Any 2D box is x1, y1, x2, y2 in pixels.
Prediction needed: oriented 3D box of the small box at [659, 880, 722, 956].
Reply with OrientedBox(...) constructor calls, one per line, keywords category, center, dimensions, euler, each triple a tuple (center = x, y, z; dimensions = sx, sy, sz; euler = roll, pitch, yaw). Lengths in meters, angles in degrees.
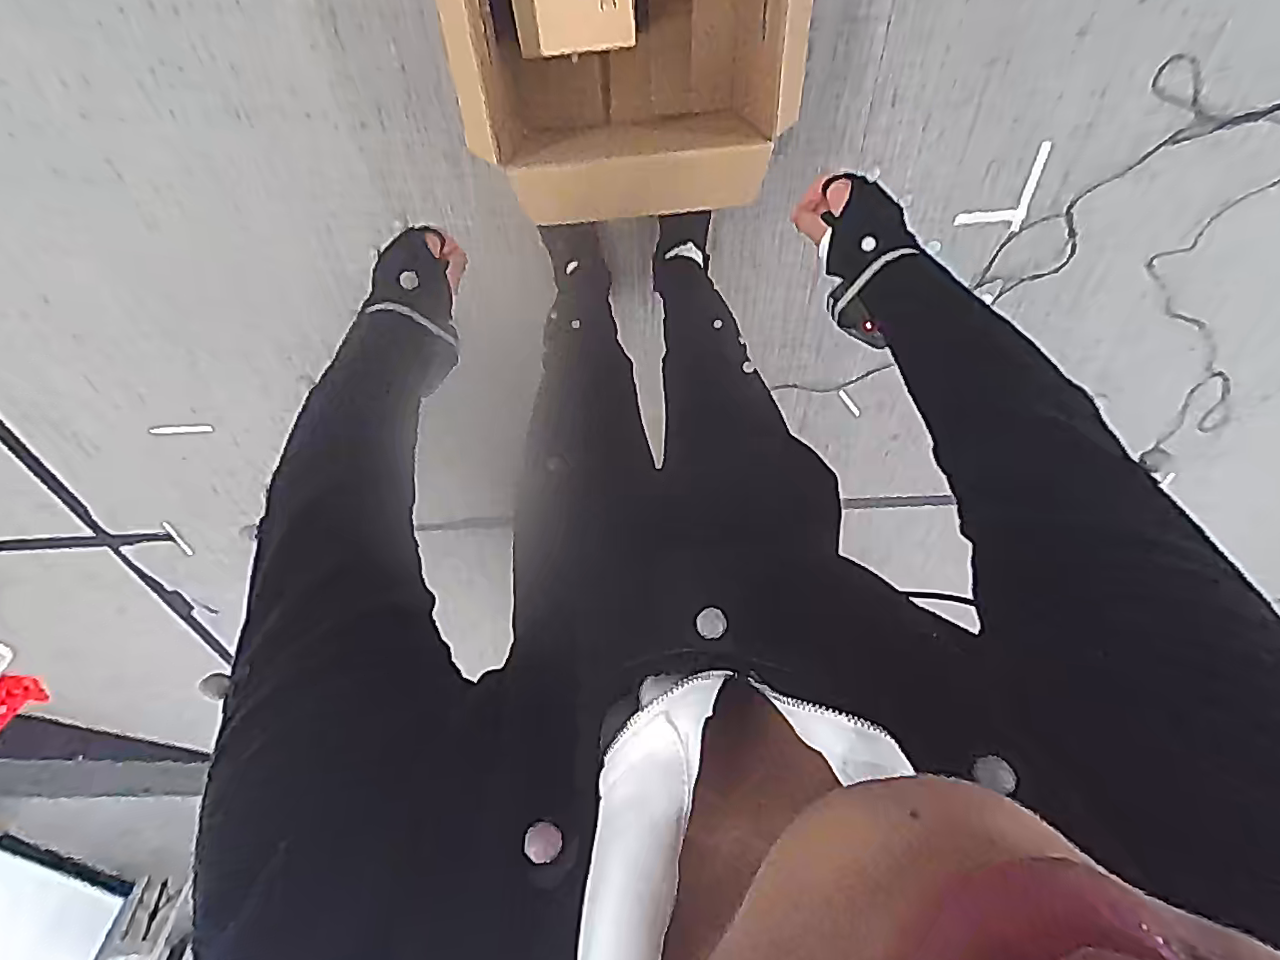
OrientedBox(category="small box", center=(0.163, 1.457, 1.801), dimensions=(0.179, 0.176, 0.168), euler=(-3, 131, -4))
